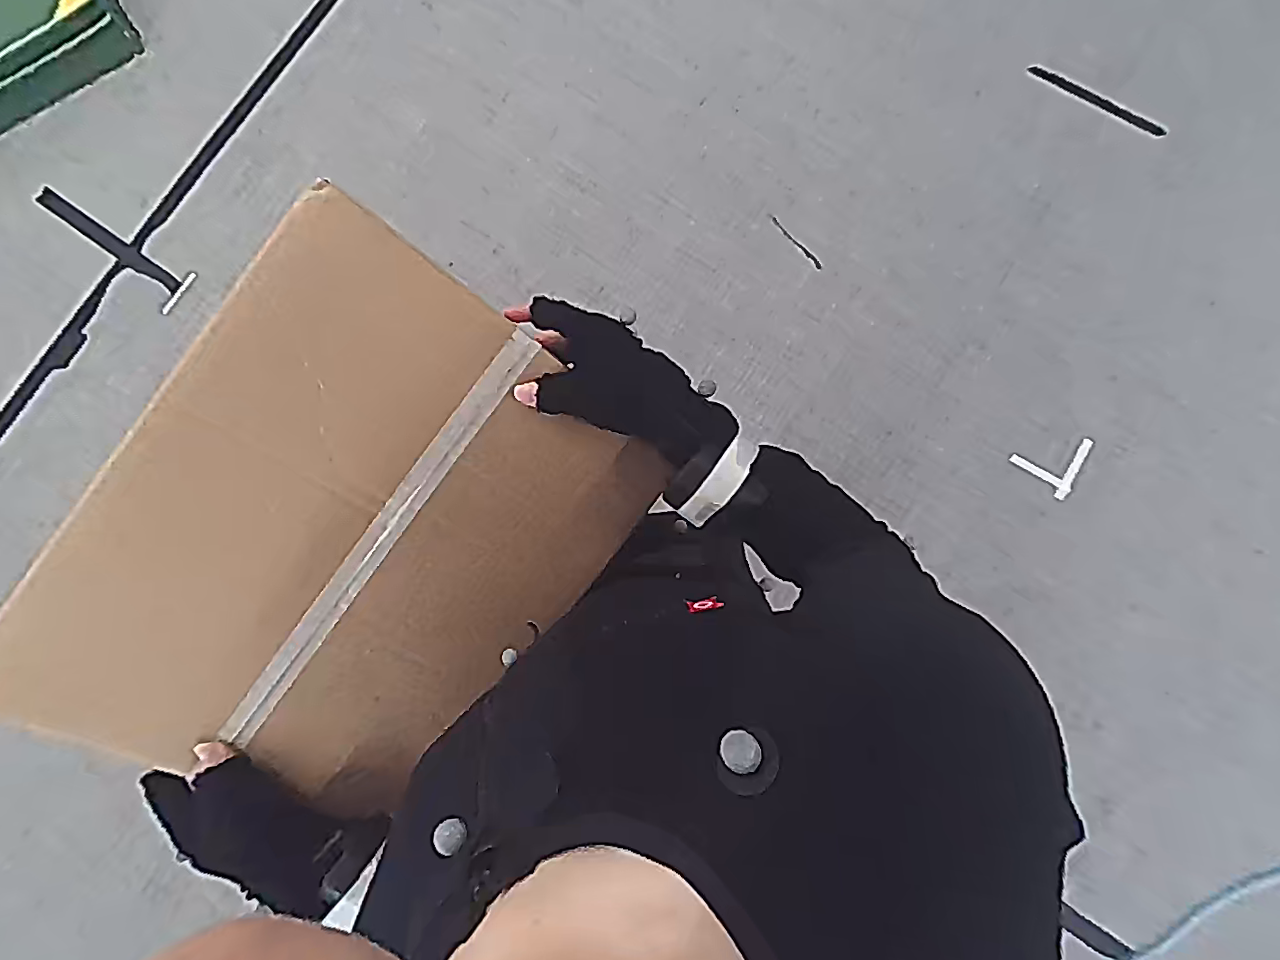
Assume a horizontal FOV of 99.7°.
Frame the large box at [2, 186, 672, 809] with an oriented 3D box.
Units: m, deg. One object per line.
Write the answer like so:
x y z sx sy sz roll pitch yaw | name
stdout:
-0.242 0.014 0.546 0.320 0.320 0.408 36 93 -23 | large box
